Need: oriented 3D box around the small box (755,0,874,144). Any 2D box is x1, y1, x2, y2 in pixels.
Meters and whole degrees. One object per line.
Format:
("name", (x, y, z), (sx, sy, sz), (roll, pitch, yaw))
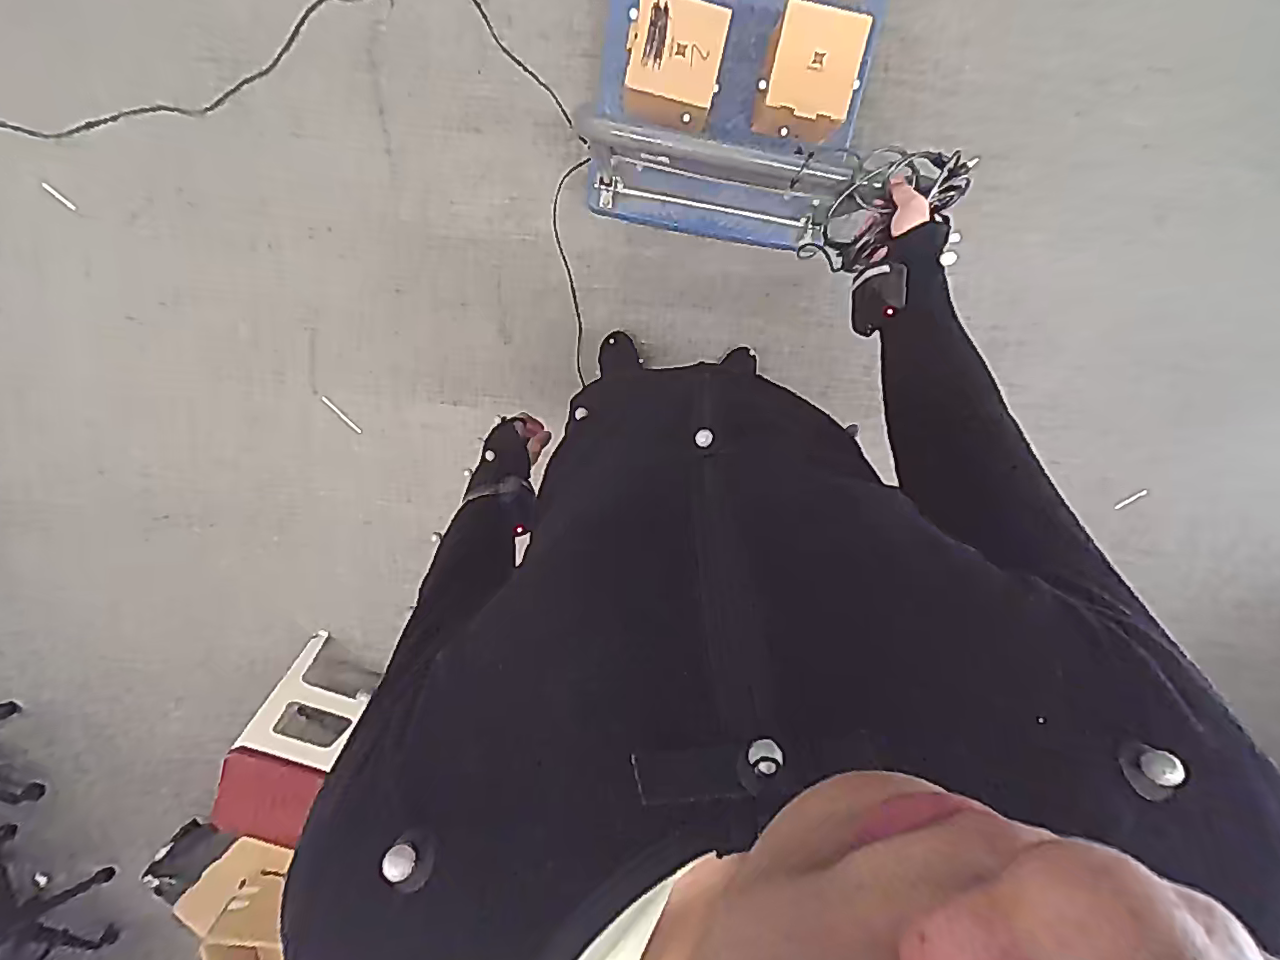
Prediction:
("small box", (0.346, -0.826, 1.112), (0.168, 0.176, 0.179), (10, 109, -3))
